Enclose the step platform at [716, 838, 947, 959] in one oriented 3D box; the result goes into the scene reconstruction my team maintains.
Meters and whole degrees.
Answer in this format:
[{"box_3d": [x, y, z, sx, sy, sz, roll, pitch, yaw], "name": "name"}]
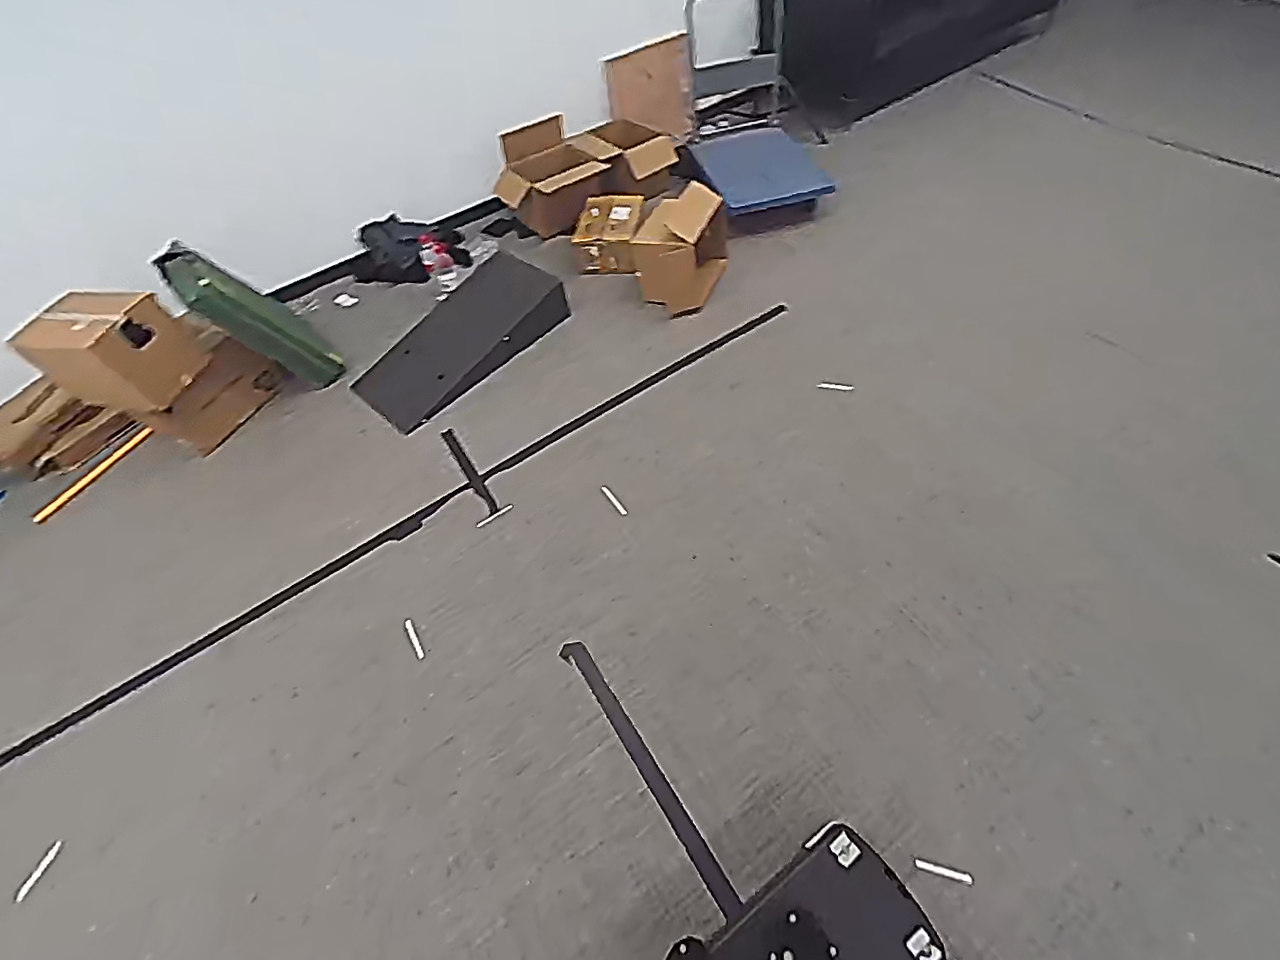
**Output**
[{"box_3d": [0.276, 1.061, 1.071, 0.684, 0.204, 0.286, -32, 56, -17], "name": "step platform"}]
